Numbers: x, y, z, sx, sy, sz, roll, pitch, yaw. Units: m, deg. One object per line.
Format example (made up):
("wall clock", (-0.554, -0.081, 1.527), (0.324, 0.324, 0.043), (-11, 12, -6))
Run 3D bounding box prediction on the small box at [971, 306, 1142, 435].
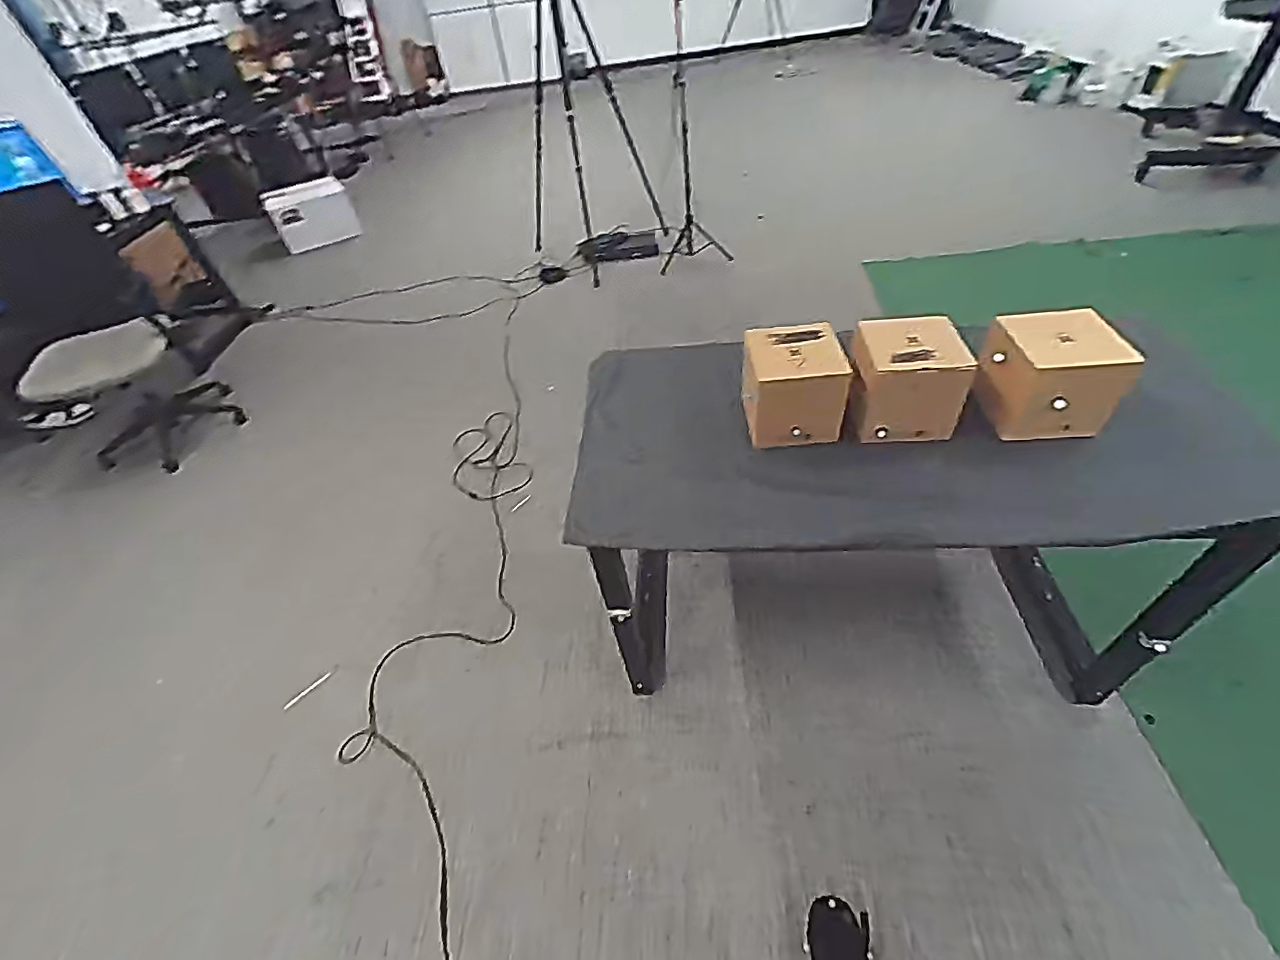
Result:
("small box", (0.750, -0.196, 0.998), (0.168, 0.176, 0.179), (-3, 45, 7))
